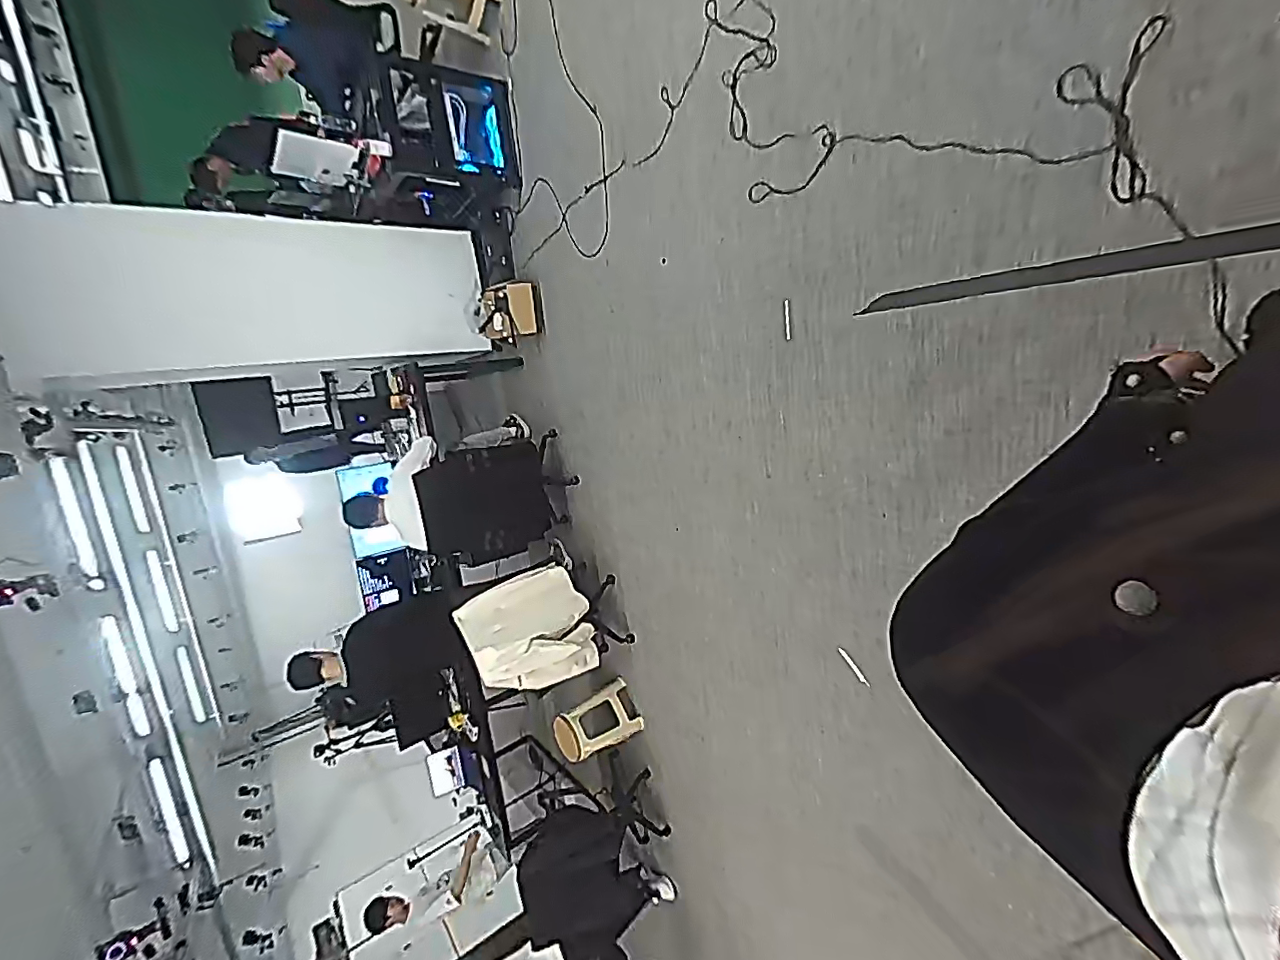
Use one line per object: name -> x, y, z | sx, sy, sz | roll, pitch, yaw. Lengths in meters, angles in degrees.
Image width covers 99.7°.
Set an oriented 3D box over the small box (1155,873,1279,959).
small box -> 0.886, 0.746, 0.795 | 0.168, 0.176, 0.179 | 3, 105, 52
